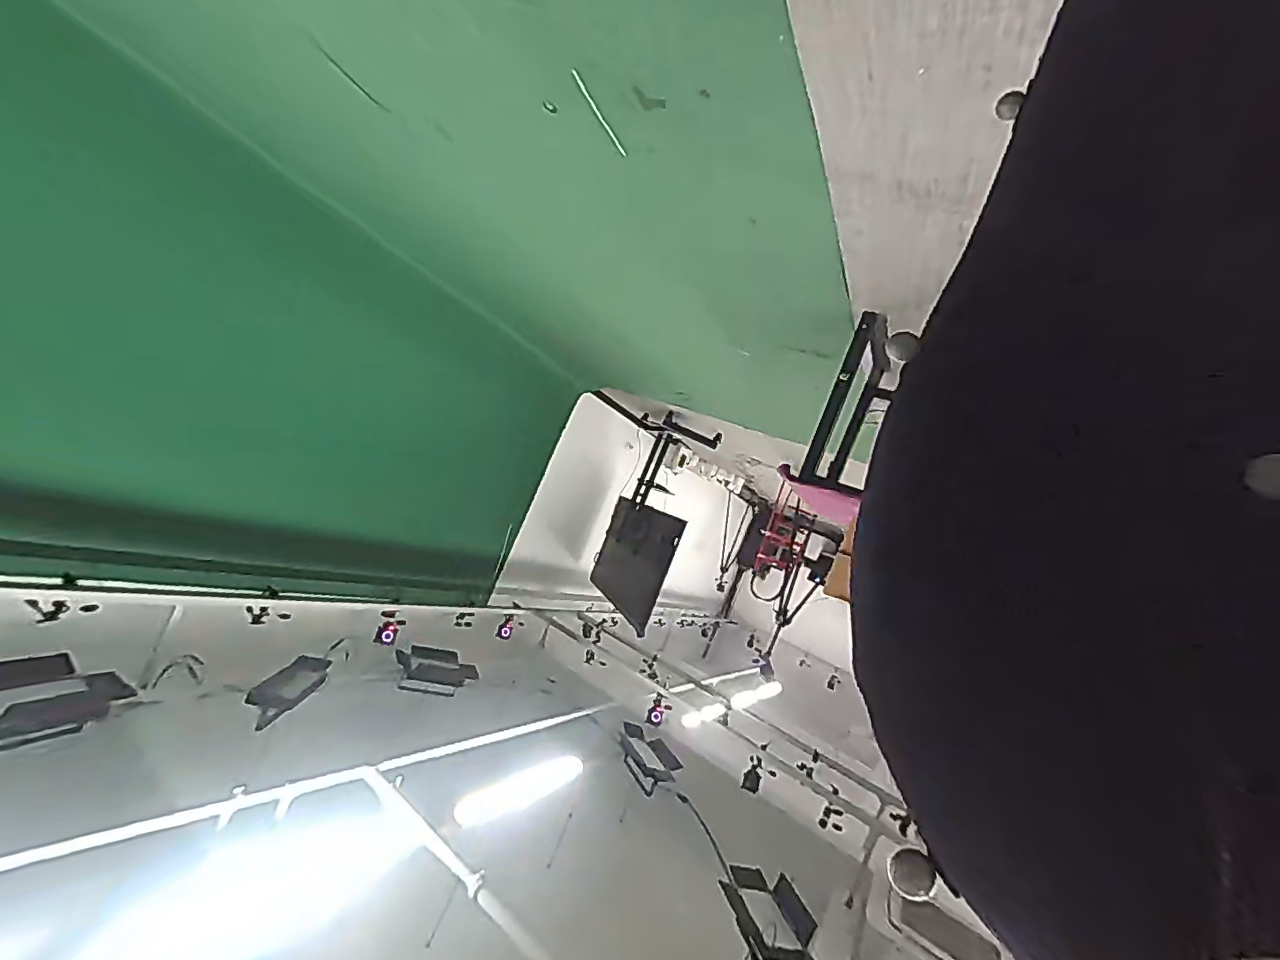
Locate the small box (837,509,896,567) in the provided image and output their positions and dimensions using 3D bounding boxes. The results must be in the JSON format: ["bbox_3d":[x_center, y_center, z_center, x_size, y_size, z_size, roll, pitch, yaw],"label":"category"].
[{"bbox_3d":[0.870,0.220,2.079,0.168,0.176,0.179,24,178,24],"label":"small box"}]
